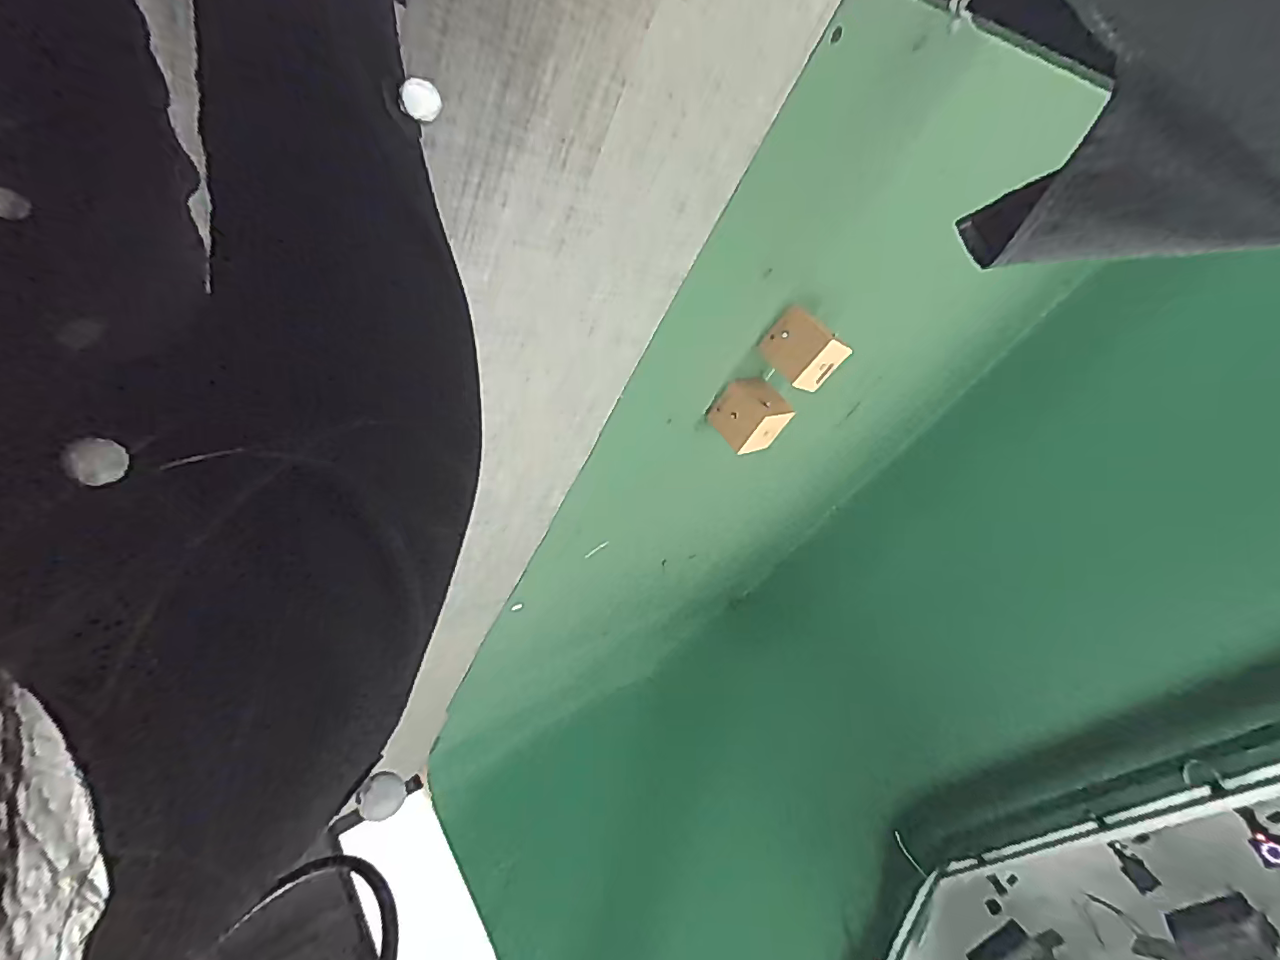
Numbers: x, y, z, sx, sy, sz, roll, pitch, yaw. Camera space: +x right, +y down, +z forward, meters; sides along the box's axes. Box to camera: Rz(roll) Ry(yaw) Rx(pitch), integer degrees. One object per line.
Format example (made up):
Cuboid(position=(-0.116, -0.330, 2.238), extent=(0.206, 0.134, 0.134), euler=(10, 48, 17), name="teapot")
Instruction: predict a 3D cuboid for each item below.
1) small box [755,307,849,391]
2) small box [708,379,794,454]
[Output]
Cuboid(position=(0.477, -0.386, 1.597), extent=(0.179, 0.176, 0.168), euler=(-1, 137, -52), name="small box")
Cuboid(position=(0.351, -0.208, 1.736), extent=(0.179, 0.176, 0.168), euler=(-15, 148, -43), name="small box")
